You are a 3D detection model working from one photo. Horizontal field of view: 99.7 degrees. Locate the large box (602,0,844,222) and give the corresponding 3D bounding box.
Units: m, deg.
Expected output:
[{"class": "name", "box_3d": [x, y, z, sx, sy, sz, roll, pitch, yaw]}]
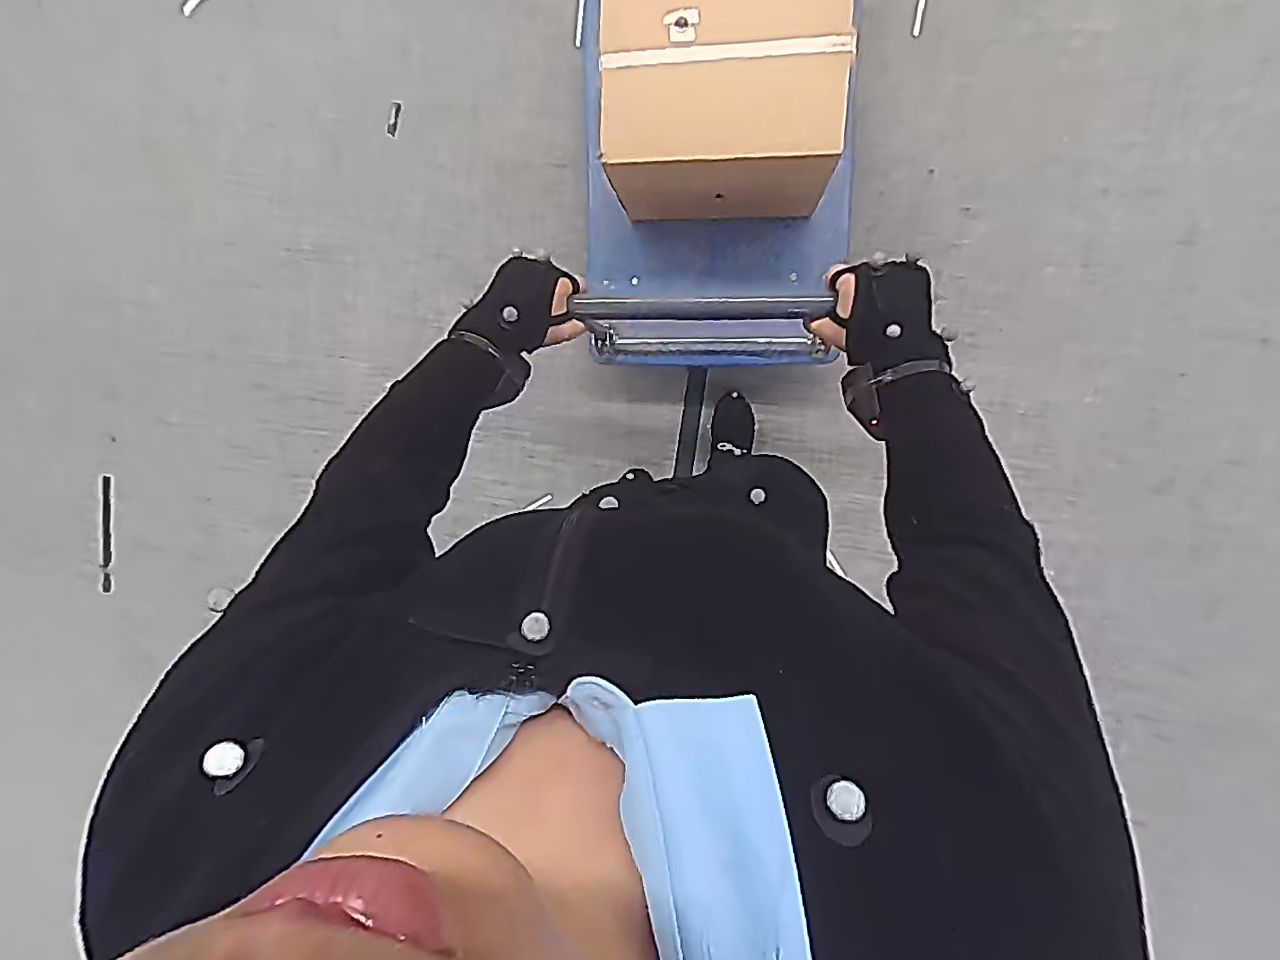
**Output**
[{"class": "large box", "box_3d": [0.155, -0.713, 1.049, 0.408, 0.320, 0.320, 2, 98, 9]}]
